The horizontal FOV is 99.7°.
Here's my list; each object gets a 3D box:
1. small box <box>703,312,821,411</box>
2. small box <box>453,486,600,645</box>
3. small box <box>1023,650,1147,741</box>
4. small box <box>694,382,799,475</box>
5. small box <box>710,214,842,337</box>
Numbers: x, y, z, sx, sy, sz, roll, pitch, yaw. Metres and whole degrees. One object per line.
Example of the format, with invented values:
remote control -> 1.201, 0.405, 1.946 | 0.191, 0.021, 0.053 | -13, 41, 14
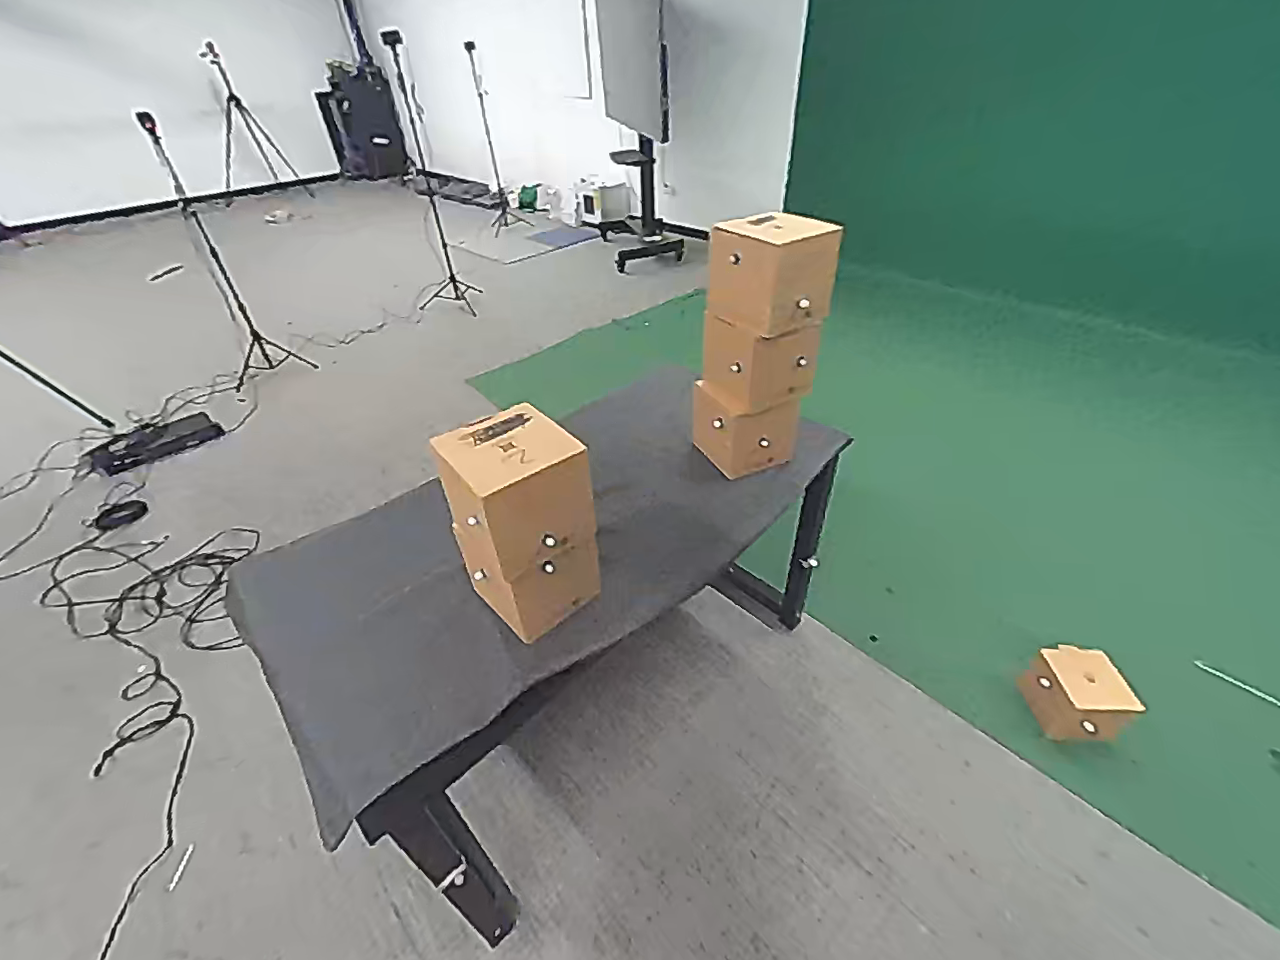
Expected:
small box -> 0.246, -0.258, 1.124 | 0.168, 0.176, 0.179 | -20, 39, -21
small box -> -0.188, 0.144, 0.923 | 0.168, 0.176, 0.179 | -33, 46, -31
small box -> 1.179, 0.579, 1.449 | 0.168, 0.176, 0.179 | -1, 39, 3
small box -> 0.234, -0.127, 1.220 | 0.168, 0.176, 0.179 | -17, 39, -17
small box -> 0.246, -0.388, 1.022 | 0.168, 0.176, 0.179 | -25, 43, -25
